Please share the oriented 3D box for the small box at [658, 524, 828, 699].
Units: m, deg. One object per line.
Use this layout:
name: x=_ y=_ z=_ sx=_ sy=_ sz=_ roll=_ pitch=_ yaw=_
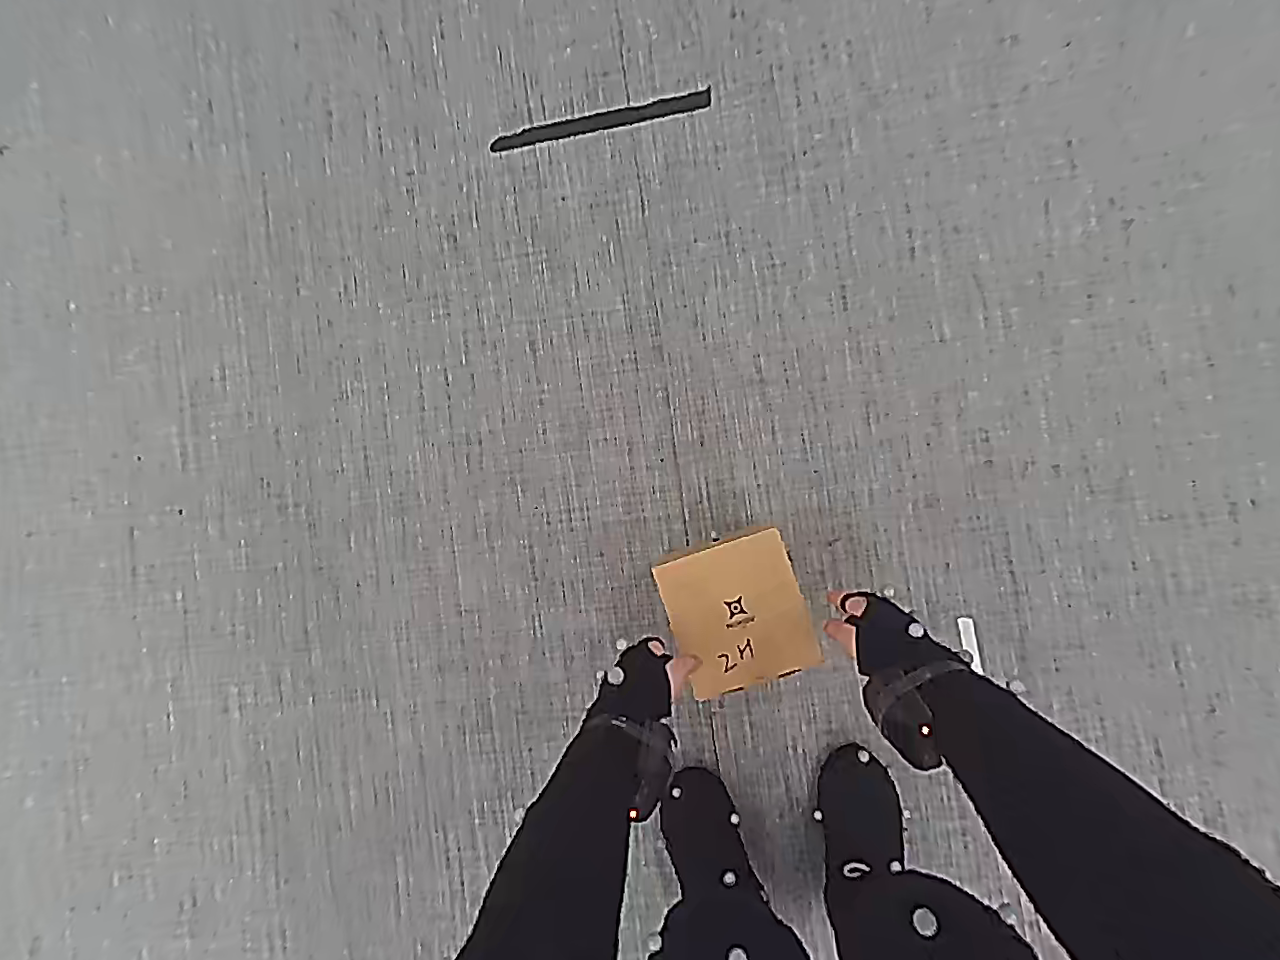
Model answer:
small box: x=0.130 y=0.165 z=0.735 sx=0.168 sy=0.176 sz=0.179 roll=-19 pitch=86 yaw=5
